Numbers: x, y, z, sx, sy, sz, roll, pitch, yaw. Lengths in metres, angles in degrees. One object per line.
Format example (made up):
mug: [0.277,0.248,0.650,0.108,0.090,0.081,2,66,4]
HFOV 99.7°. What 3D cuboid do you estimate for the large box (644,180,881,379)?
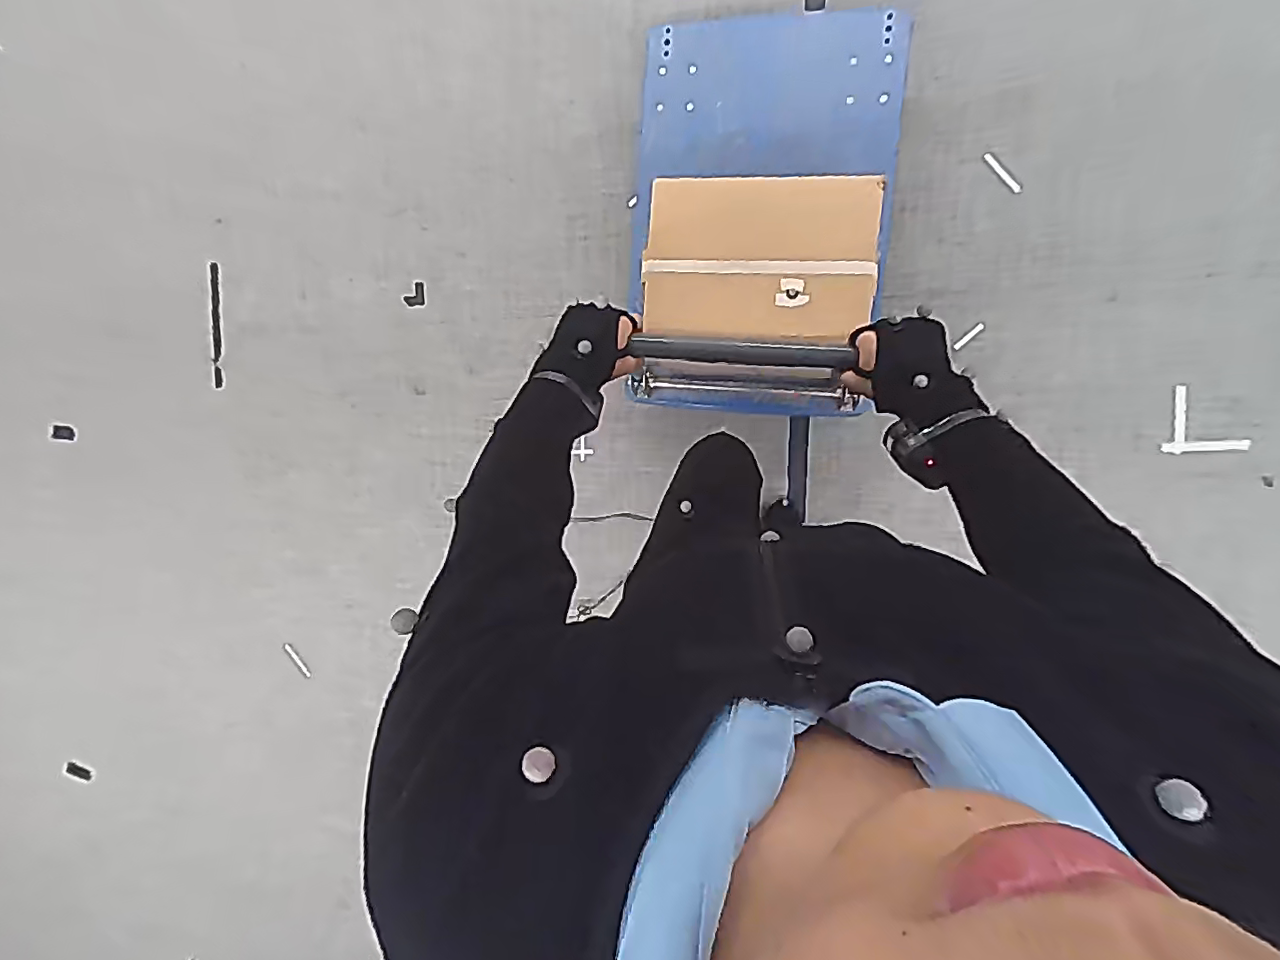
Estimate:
large box: [0.234,-0.383,1.113,0.408,0.320,0.320,5,96,10]
